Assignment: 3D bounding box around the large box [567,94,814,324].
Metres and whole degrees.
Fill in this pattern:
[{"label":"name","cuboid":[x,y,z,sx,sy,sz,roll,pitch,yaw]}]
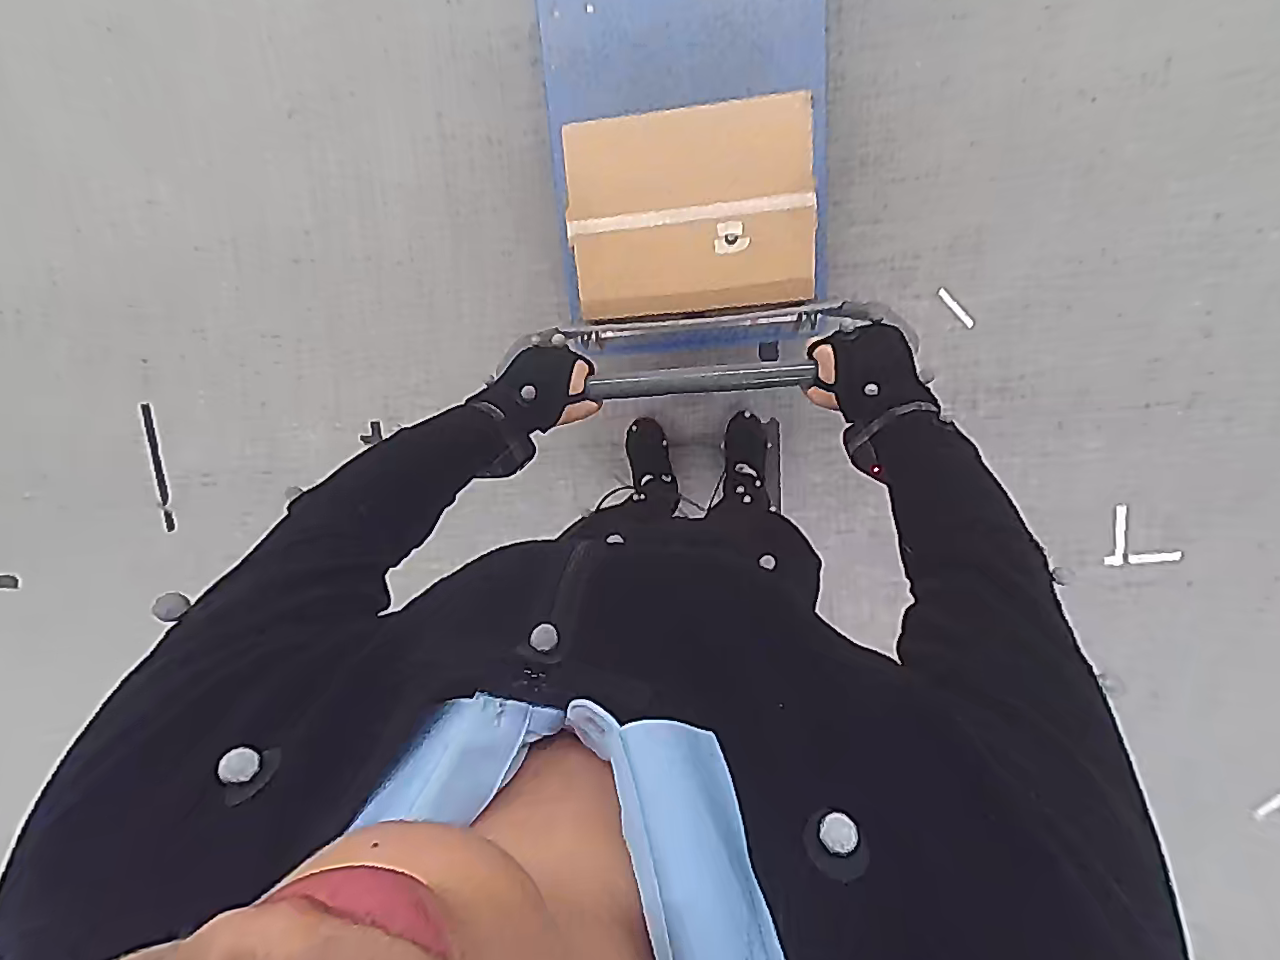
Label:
[{"label":"large box","cuboid":[0.100,-0.489,1.061,0.408,0.320,0.320,-4,105,6]}]
